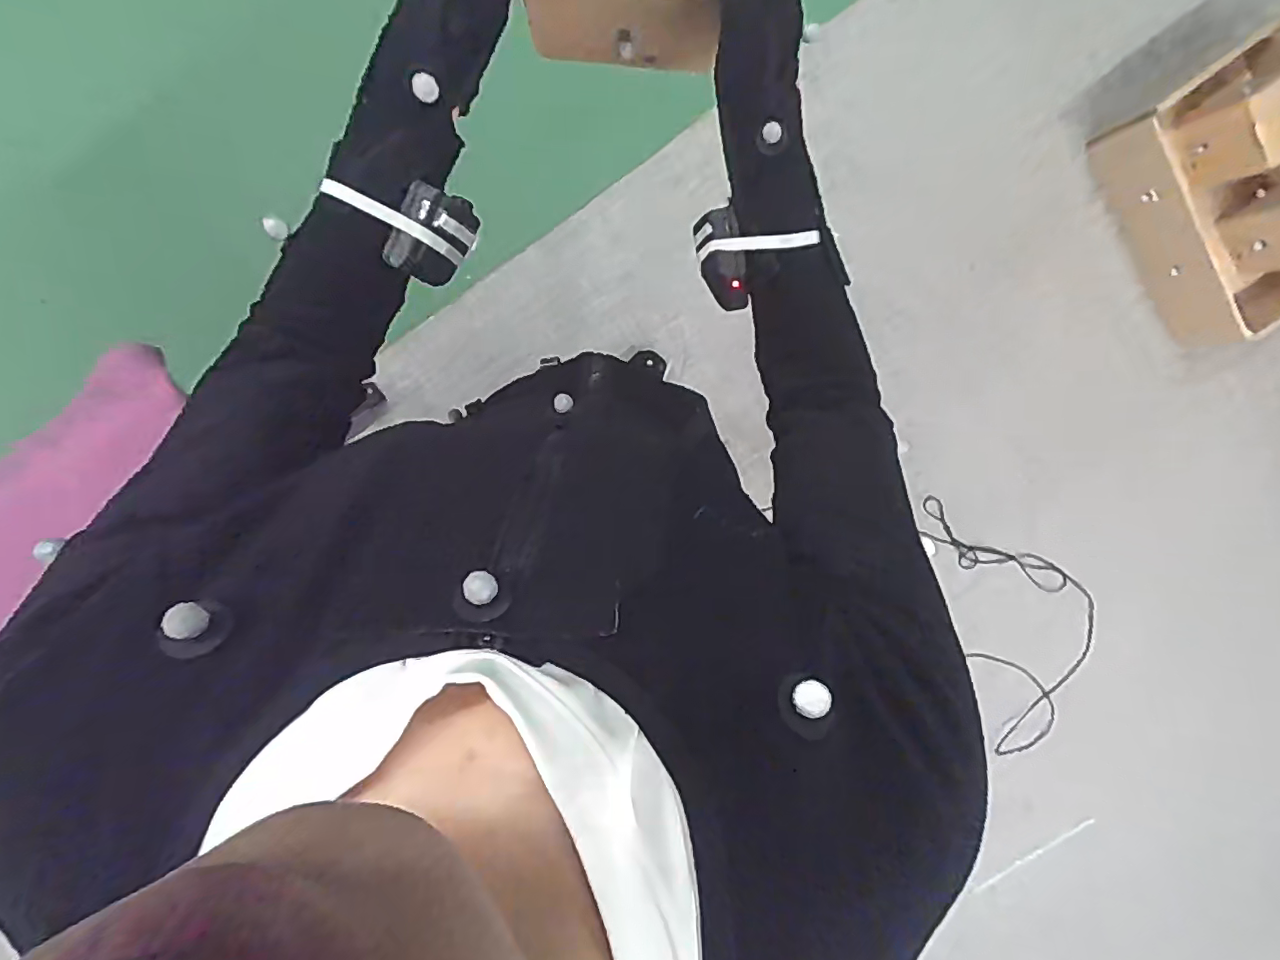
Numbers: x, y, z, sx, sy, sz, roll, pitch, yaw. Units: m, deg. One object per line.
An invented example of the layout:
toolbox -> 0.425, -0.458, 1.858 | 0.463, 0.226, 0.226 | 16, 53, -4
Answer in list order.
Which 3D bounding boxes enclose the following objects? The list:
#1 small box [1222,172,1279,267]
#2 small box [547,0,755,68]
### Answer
small box -> 1.588, -0.648, 1.312 | 0.179, 0.176, 0.168 | -40, 100, 5
small box -> 0.011, -0.452, 0.400 | 0.168, 0.176, 0.179 | 3, 107, -5
